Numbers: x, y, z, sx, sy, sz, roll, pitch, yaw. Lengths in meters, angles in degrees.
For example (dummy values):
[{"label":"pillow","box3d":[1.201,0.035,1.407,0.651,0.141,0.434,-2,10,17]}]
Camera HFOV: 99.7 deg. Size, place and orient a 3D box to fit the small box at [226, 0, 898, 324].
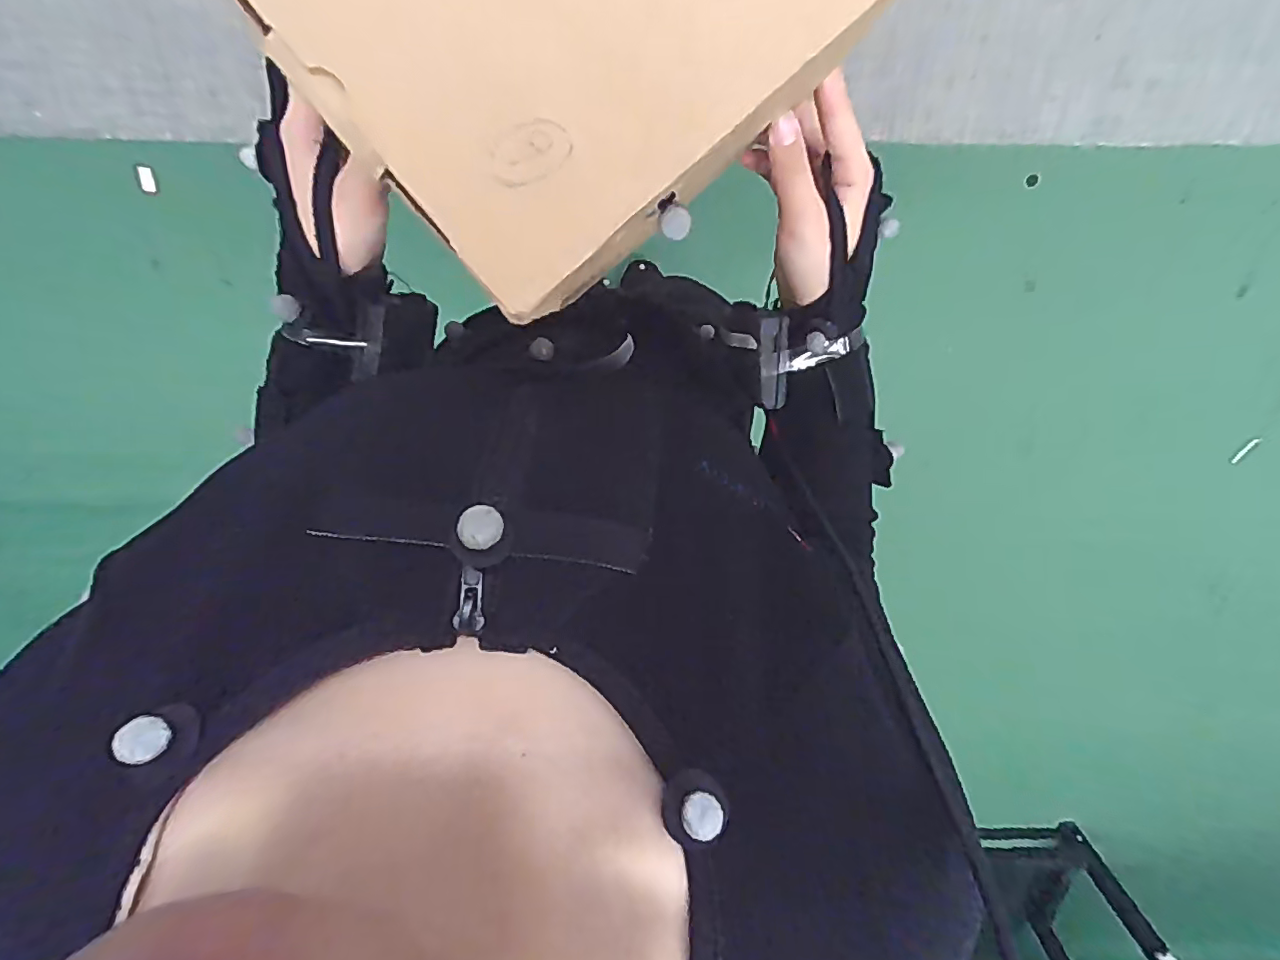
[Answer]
[{"label":"small box","box3d":[-0.028,-0.187,0.225,0.179,0.176,0.168,-37,106,12]}]
